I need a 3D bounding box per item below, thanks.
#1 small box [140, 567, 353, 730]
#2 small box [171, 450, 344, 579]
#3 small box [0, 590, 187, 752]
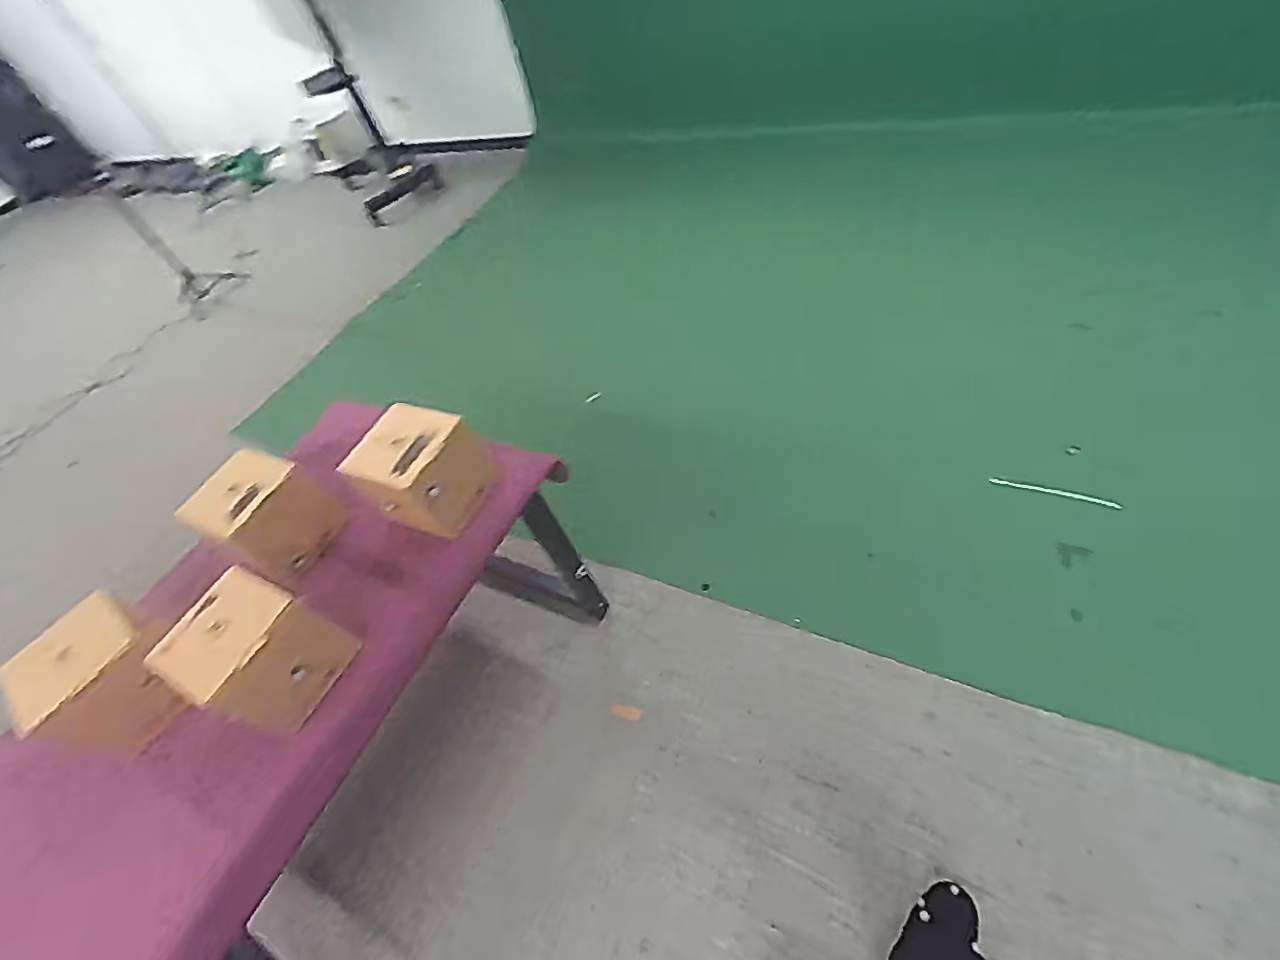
[{"bbox_3d":[-0.598,0.268,0.845,0.179,0.176,0.168,15,58,26],"label":"small box"},{"bbox_3d":[-0.719,0.069,1.036,0.179,0.176,0.168,12,56,25],"label":"small box"},{"bbox_3d":[-0.864,0.316,0.882,0.179,0.176,0.168,24,61,30],"label":"small box"}]
